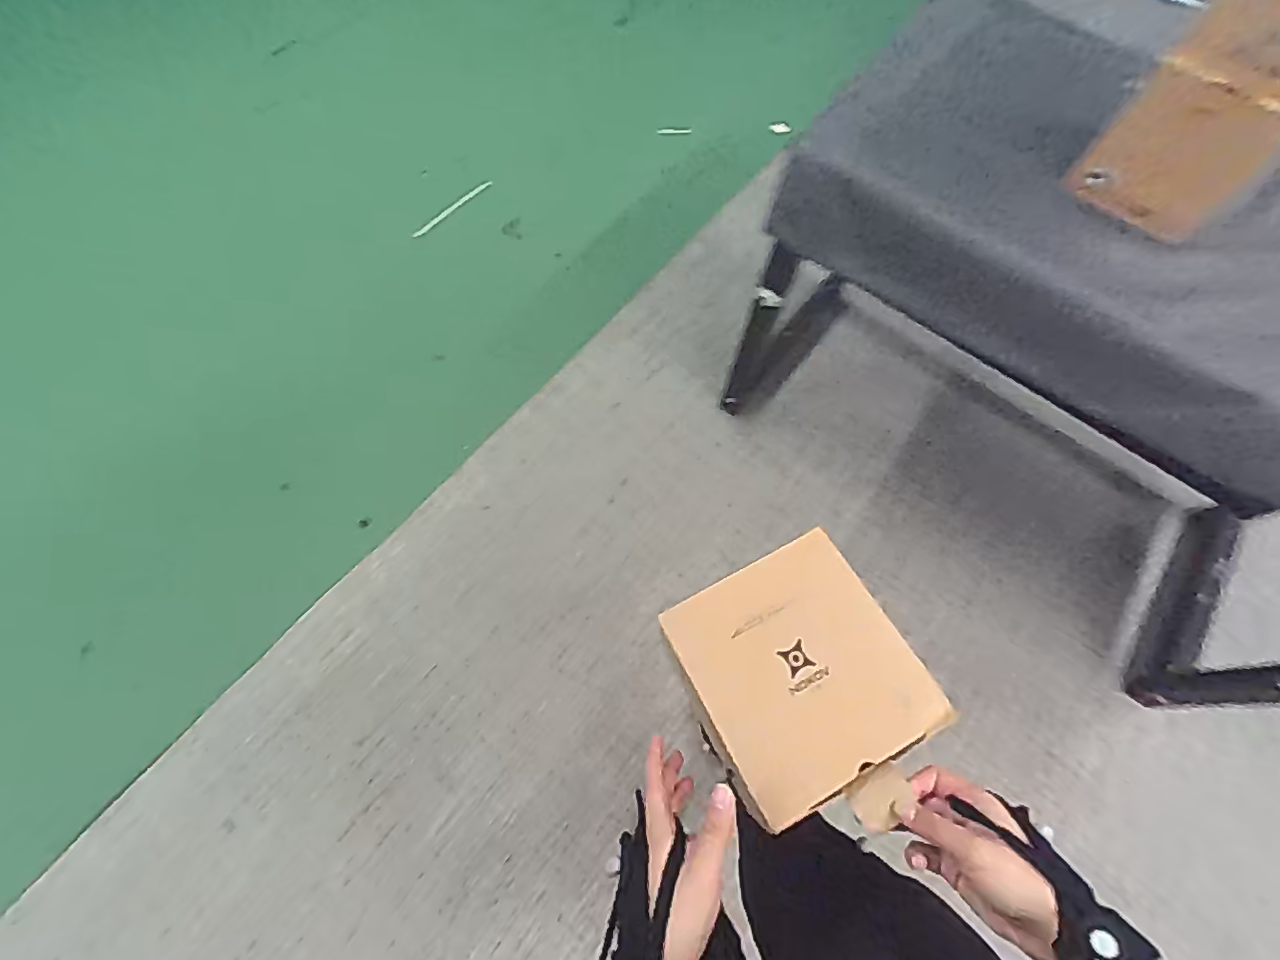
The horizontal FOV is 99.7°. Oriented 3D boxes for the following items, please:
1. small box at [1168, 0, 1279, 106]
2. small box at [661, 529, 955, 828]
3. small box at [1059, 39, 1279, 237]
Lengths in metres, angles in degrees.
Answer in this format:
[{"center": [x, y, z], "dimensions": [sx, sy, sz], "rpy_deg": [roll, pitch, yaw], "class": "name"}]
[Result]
[{"center": [0.722, -0.539, 0.565], "dimensions": [0.168, 0.176, 0.179], "rpy_deg": [37, 70, 14], "class": "small box"}, {"center": [0.132, 0.178, 0.496], "dimensions": [0.168, 0.176, 0.179], "rpy_deg": [-26, 64, -9], "class": "small box"}, {"center": [0.706, -0.459, 0.709], "dimensions": [0.168, 0.176, 0.179], "rpy_deg": [40, 69, 14], "class": "small box"}]
